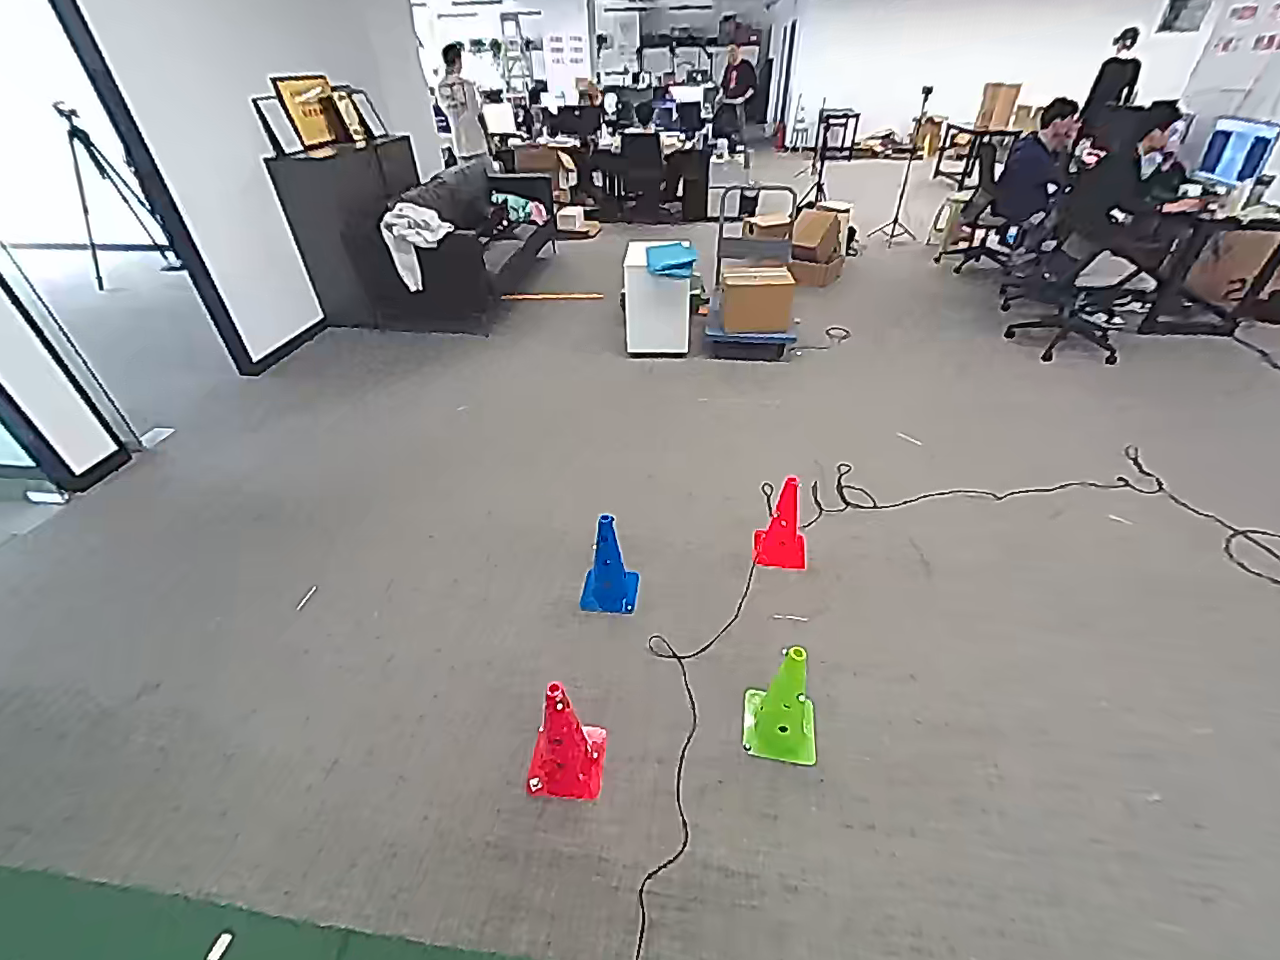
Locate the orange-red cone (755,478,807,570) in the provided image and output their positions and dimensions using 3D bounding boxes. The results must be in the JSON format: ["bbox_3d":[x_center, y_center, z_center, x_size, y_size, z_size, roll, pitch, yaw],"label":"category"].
[{"bbox_3d":[0.551,0.142,2.036,0.198,0.360,0.199,6,39,11],"label":"orange-red cone"}]

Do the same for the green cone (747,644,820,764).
[{"bbox_3d":[0.410,0.576,1.464,0.200,0.368,0.202,5,37,9],"label":"green cone"}]
